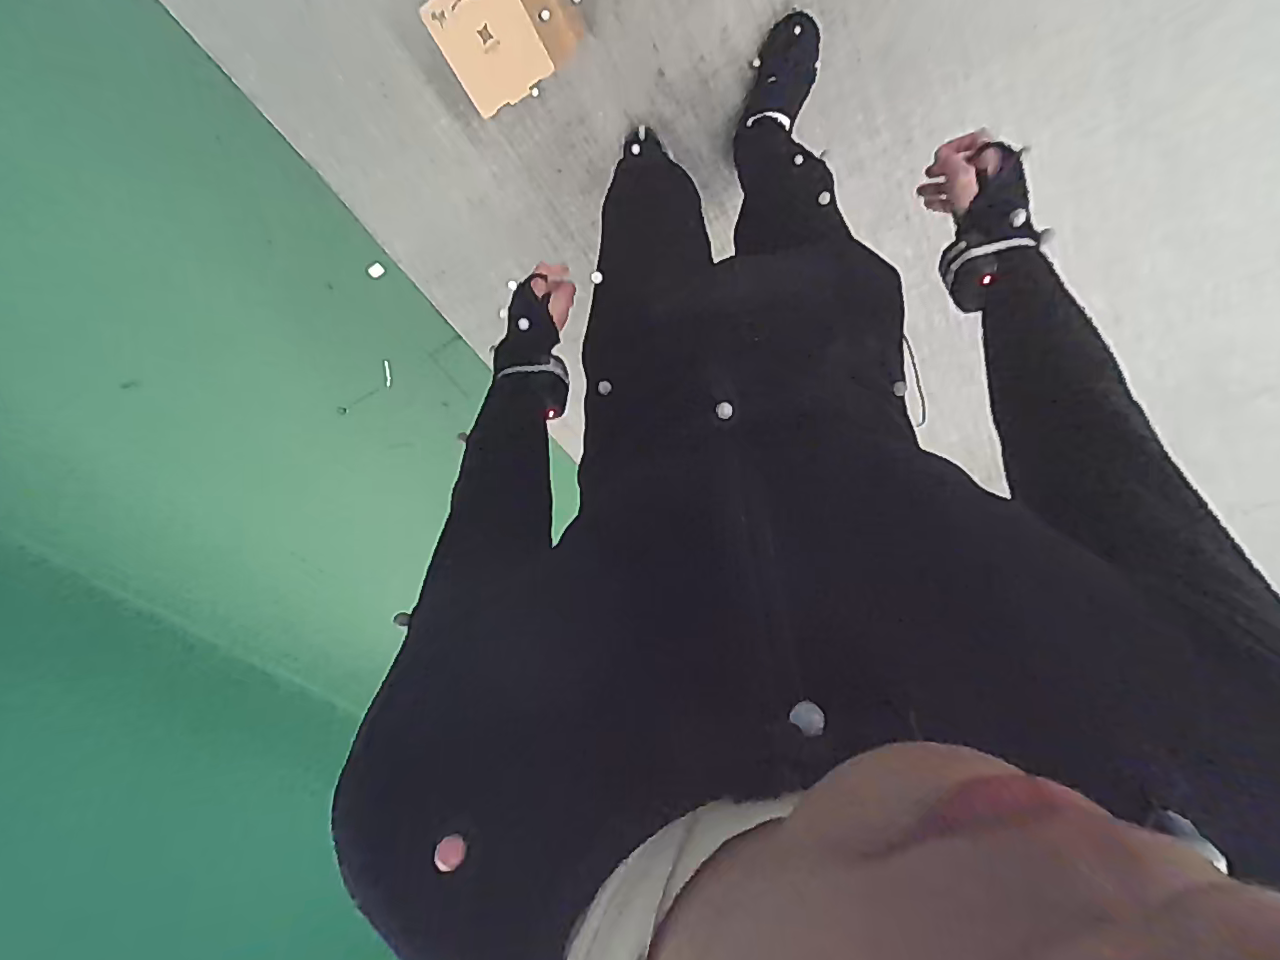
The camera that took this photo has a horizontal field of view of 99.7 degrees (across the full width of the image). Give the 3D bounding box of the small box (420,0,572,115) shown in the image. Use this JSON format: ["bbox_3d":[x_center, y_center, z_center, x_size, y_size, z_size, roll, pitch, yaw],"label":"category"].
[{"bbox_3d":[-0.240,-0.795,0.950,0.168,0.176,0.179,-16,132,24],"label":"small box"}]

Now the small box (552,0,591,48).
[{"bbox_3d":[-0.218,-0.915,1.060,0.179,0.176,0.168,-16,131,23],"label":"small box"}]
